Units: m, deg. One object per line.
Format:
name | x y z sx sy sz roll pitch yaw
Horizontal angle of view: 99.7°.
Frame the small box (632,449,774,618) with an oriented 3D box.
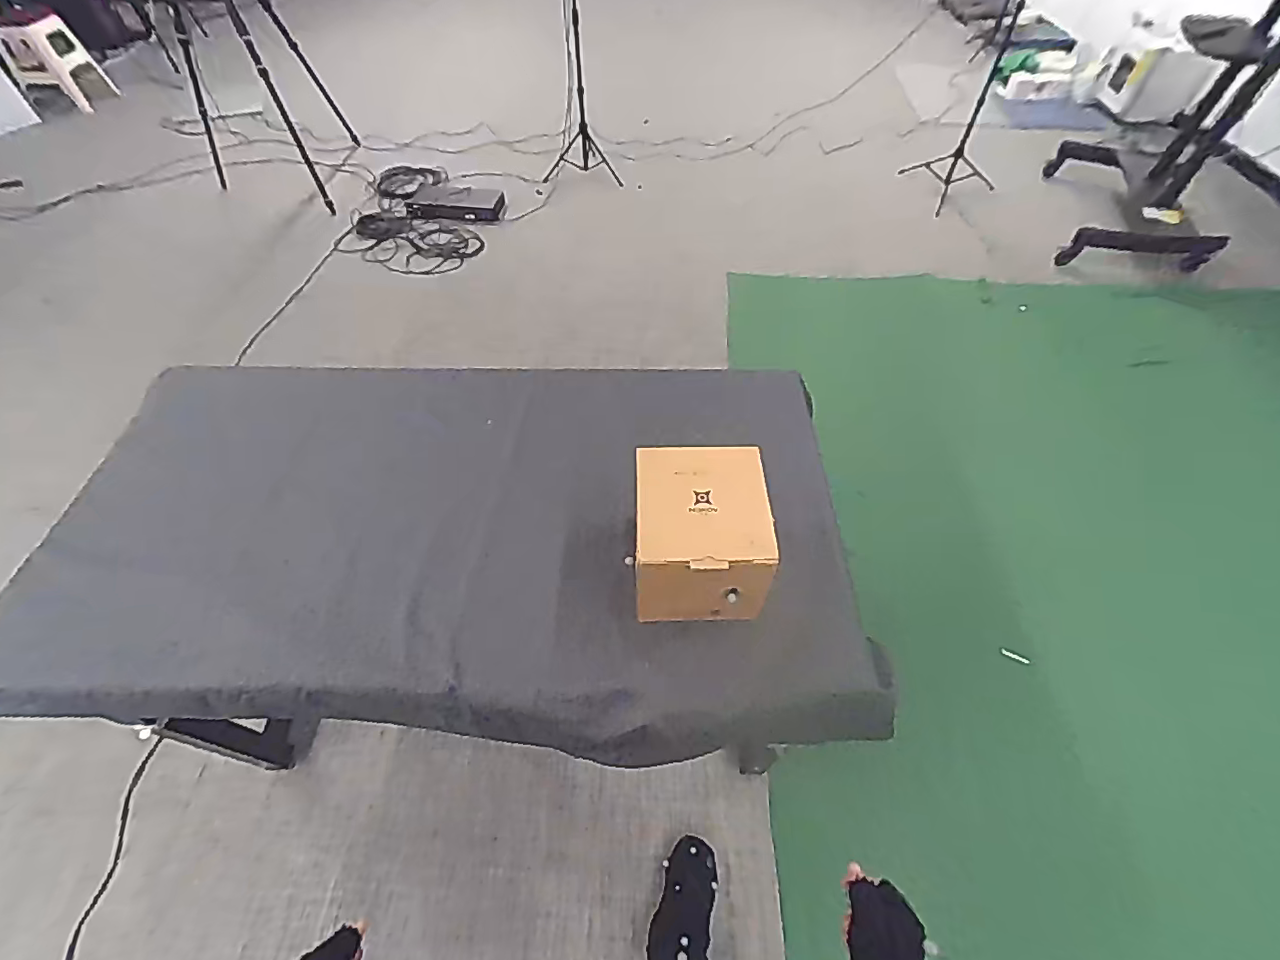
small box | 0.073 0.078 0.736 0.168 0.176 0.179 -1 51 -2
